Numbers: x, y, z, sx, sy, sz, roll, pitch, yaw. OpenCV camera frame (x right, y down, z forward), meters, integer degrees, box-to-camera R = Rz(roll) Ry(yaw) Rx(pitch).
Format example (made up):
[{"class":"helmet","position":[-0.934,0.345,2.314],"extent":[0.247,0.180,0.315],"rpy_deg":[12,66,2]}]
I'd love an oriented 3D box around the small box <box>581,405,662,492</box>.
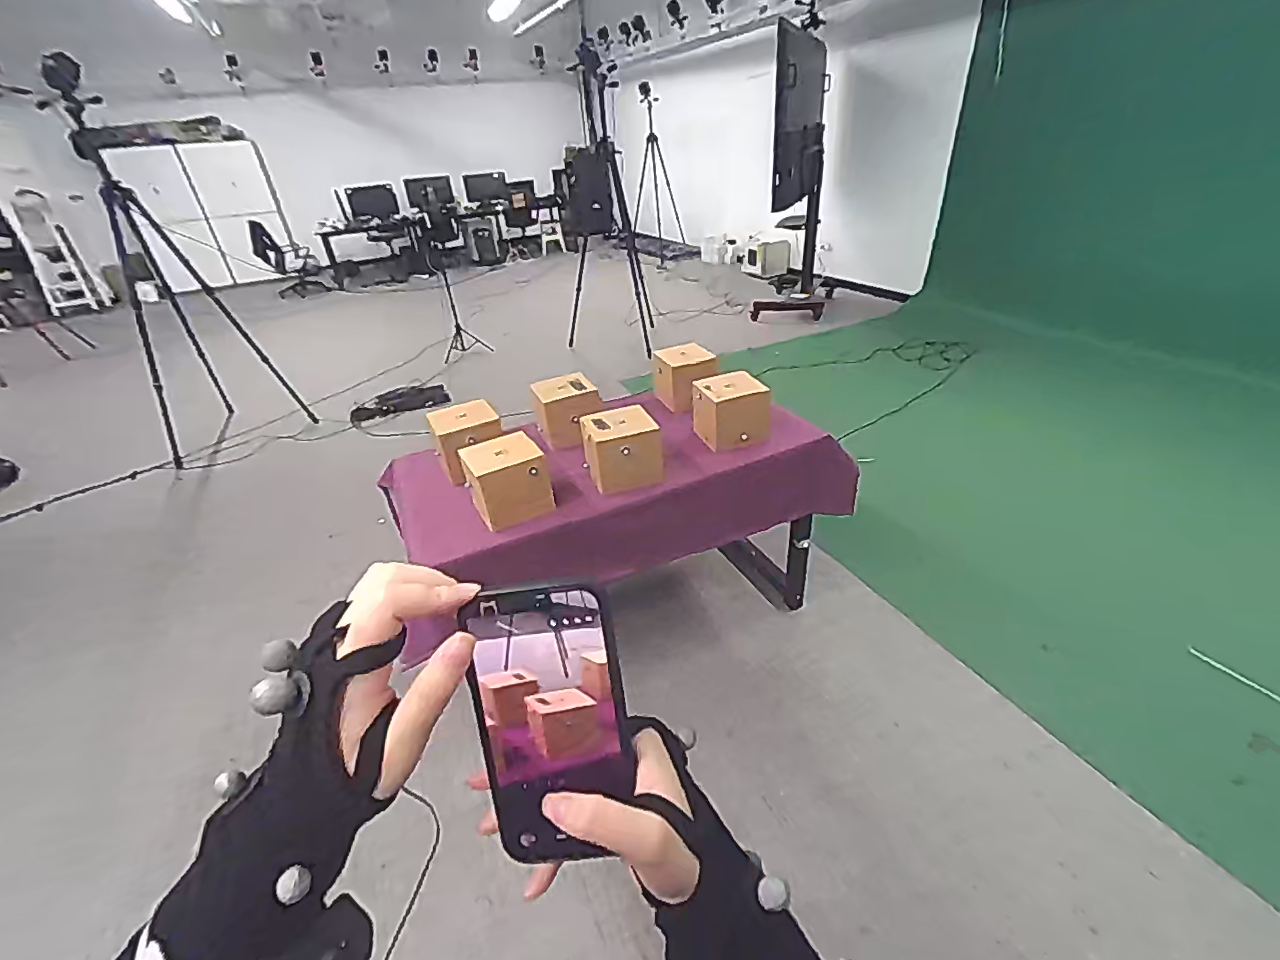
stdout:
[{"class":"small box","position":[-0.049,-0.085,1.474],"extent":[0.179,0.176,0.168],"rpy_deg":[-13,34,-14]}]

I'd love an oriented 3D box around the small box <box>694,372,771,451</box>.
[{"class":"small box","position":[0.270,-0.206,1.620],"extent":[0.179,0.176,0.168],"rpy_deg":[-13,33,-13]}]

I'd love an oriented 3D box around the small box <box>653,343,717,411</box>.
[{"class":"small box","position":[0.152,-0.357,1.868],"extent":[0.168,0.176,0.179],"rpy_deg":[-16,35,-16]}]

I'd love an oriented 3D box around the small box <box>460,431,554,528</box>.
[{"class":"small box","position":[-0.338,-0.002,1.384],"extent":[0.179,0.176,0.168],"rpy_deg":[-20,35,-24]}]
